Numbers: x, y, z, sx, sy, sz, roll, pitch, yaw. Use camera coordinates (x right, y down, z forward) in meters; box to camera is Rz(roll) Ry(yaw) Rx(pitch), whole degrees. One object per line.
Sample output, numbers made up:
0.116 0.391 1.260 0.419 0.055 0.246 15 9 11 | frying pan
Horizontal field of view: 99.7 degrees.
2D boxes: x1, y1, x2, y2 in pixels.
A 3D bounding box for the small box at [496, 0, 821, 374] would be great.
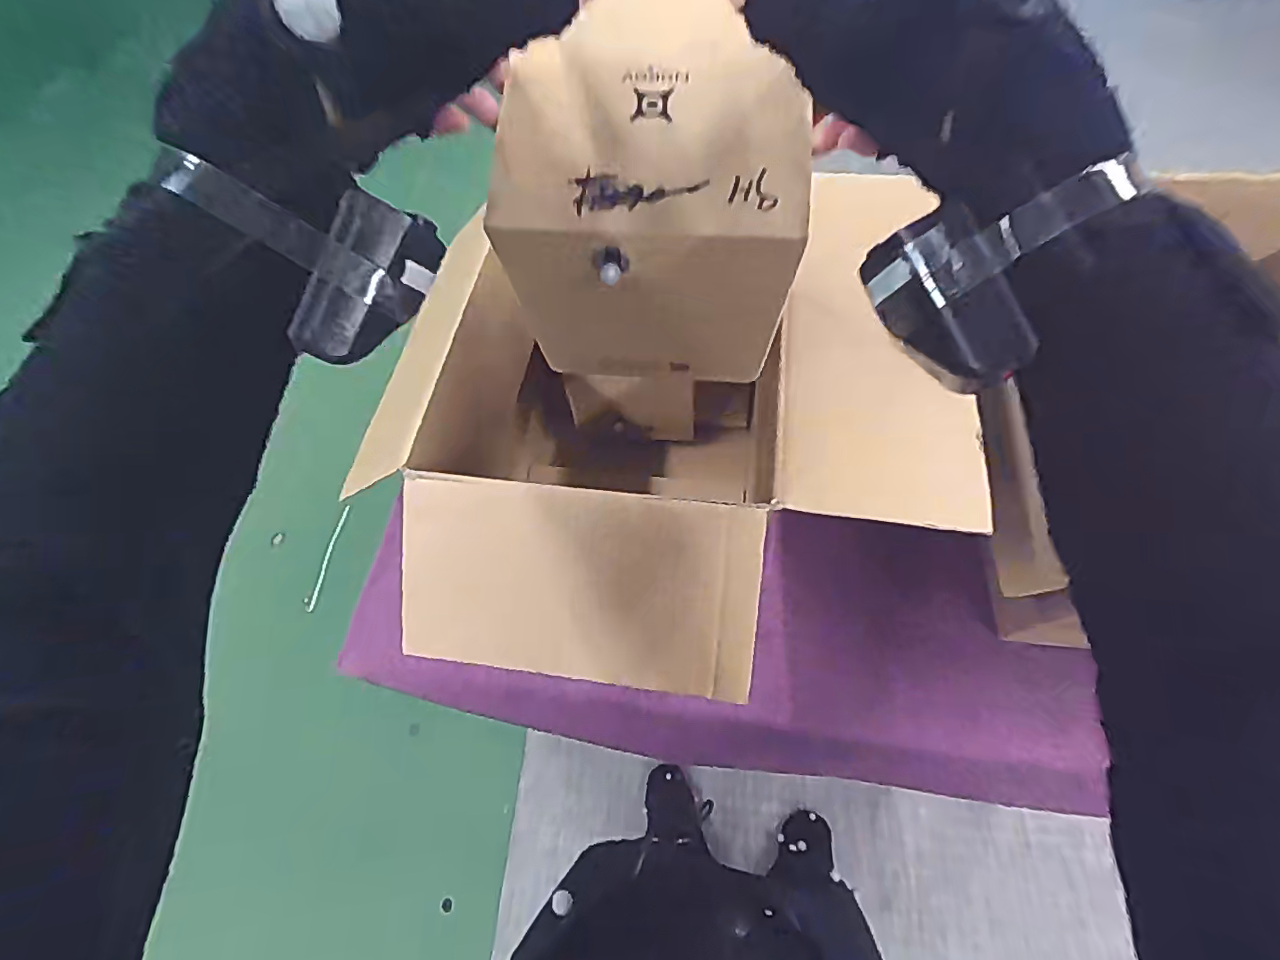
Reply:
0.018 -0.193 0.371 0.168 0.176 0.179 4 76 5 | small box
